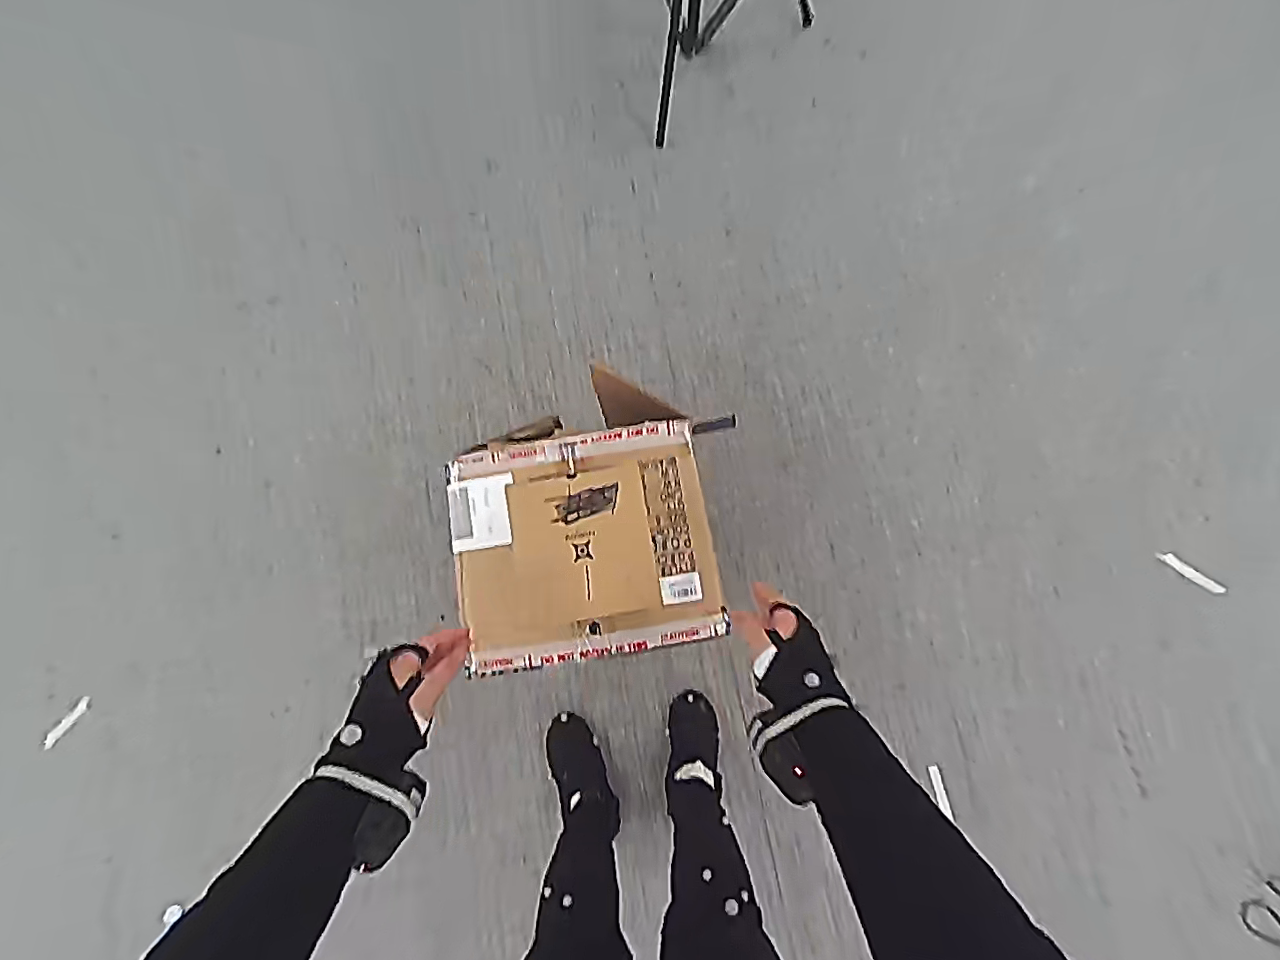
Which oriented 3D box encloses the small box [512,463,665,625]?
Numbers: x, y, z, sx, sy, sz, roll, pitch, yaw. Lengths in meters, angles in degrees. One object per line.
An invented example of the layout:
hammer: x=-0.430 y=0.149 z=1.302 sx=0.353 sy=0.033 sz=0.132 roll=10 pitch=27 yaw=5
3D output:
small box: x=-0.064 y=0.087 z=0.730 sx=0.168 sy=0.176 sz=0.179 roll=-10 pitch=82 yaw=-1
